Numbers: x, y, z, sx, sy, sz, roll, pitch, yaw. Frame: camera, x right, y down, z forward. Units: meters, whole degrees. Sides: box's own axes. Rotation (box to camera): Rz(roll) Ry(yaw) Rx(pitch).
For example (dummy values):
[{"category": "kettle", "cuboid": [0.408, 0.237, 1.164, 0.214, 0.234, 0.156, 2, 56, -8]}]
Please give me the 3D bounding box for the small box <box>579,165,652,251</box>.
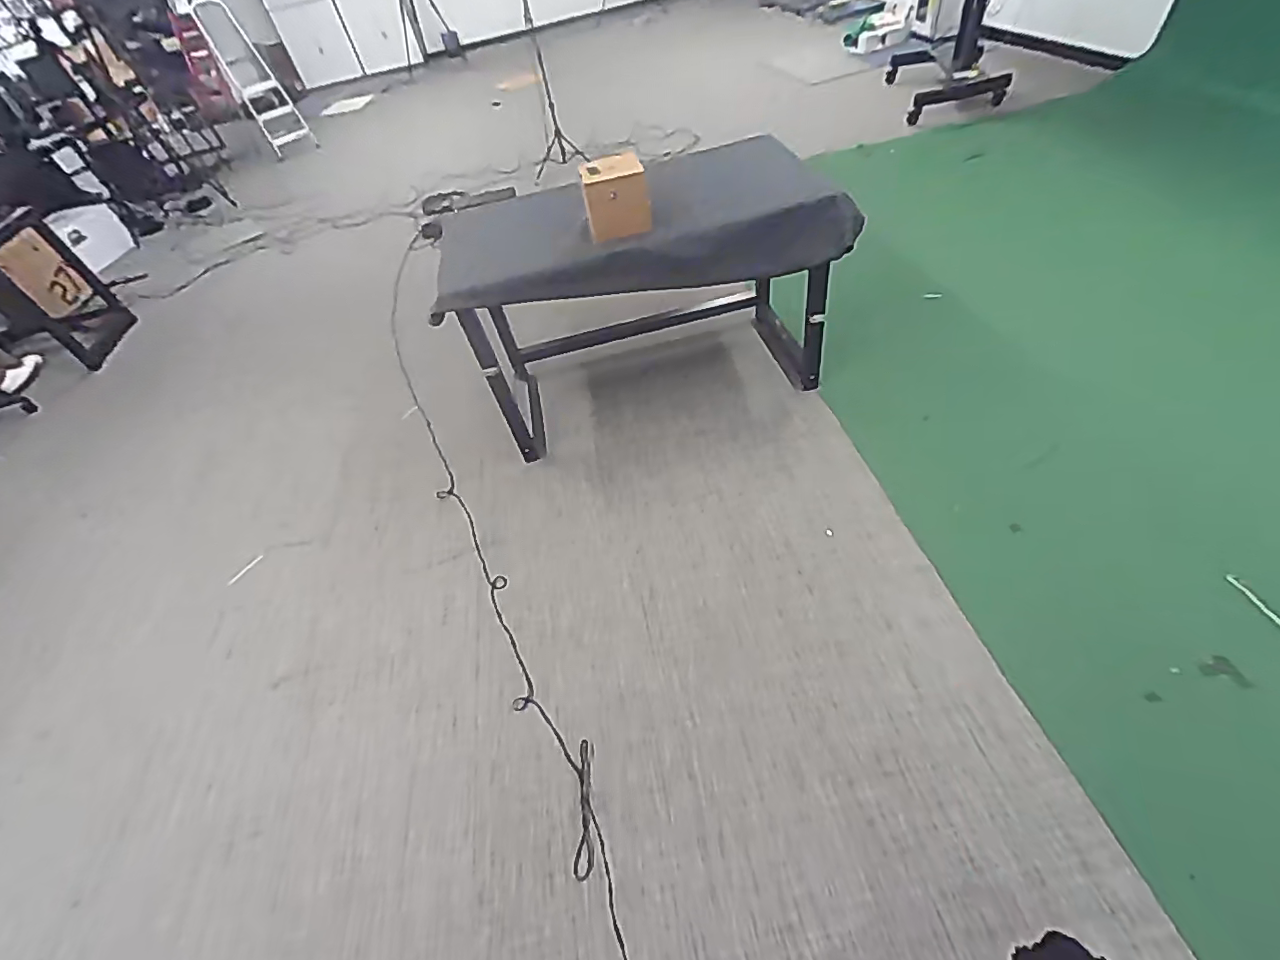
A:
[{"category": "small box", "cuboid": [-0.072, -0.807, 1.610, 0.179, 0.176, 0.168, -13, 48, -1]}]
